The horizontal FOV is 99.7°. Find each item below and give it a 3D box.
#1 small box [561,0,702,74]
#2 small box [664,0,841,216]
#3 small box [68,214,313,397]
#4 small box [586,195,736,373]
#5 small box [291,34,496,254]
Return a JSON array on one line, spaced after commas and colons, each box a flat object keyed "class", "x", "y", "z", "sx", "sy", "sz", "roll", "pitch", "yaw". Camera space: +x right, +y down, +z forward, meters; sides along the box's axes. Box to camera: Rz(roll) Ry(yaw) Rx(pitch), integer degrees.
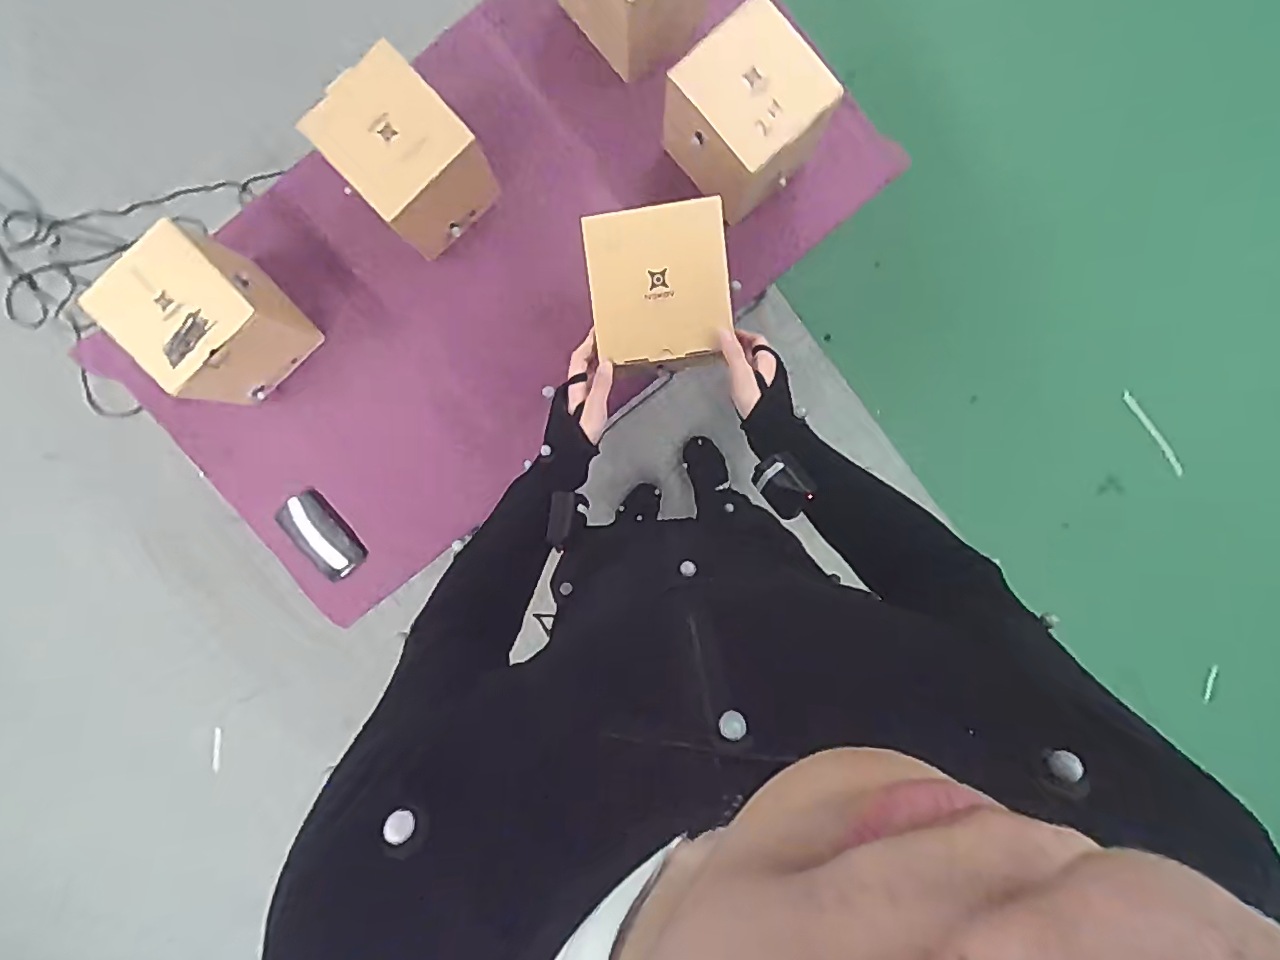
[{"class": "small box", "x": -0.017, "y": -0.749, "z": 0.775, "sx": 0.168, "sy": 0.176, "sz": 0.179, "roll": -41, "pitch": 93, "yaw": 2}, {"class": "small box", "x": 0.148, "y": -0.530, "z": 0.787, "sx": 0.168, "sy": 0.176, "sz": 0.179, "roll": -41, "pitch": 92, "yaw": 2}, {"class": "small box", "x": -0.631, "y": -0.236, "z": 0.787, "sx": 0.168, "sy": 0.176, "sz": 0.179, "roll": -43, "pitch": 92, "yaw": 1}, {"class": "small box", "x": 0.029, "y": -0.241, "z": 0.706, "sx": 0.168, "sy": 0.176, "sz": 0.179, "roll": -5, "pitch": 97, "yaw": 5}, {"class": "small box", "x": -0.341, "y": -0.466, "z": 0.784, "sx": 0.168, "sy": 0.176, "sz": 0.179, "roll": -43, "pitch": 94, "yaw": 2}]
